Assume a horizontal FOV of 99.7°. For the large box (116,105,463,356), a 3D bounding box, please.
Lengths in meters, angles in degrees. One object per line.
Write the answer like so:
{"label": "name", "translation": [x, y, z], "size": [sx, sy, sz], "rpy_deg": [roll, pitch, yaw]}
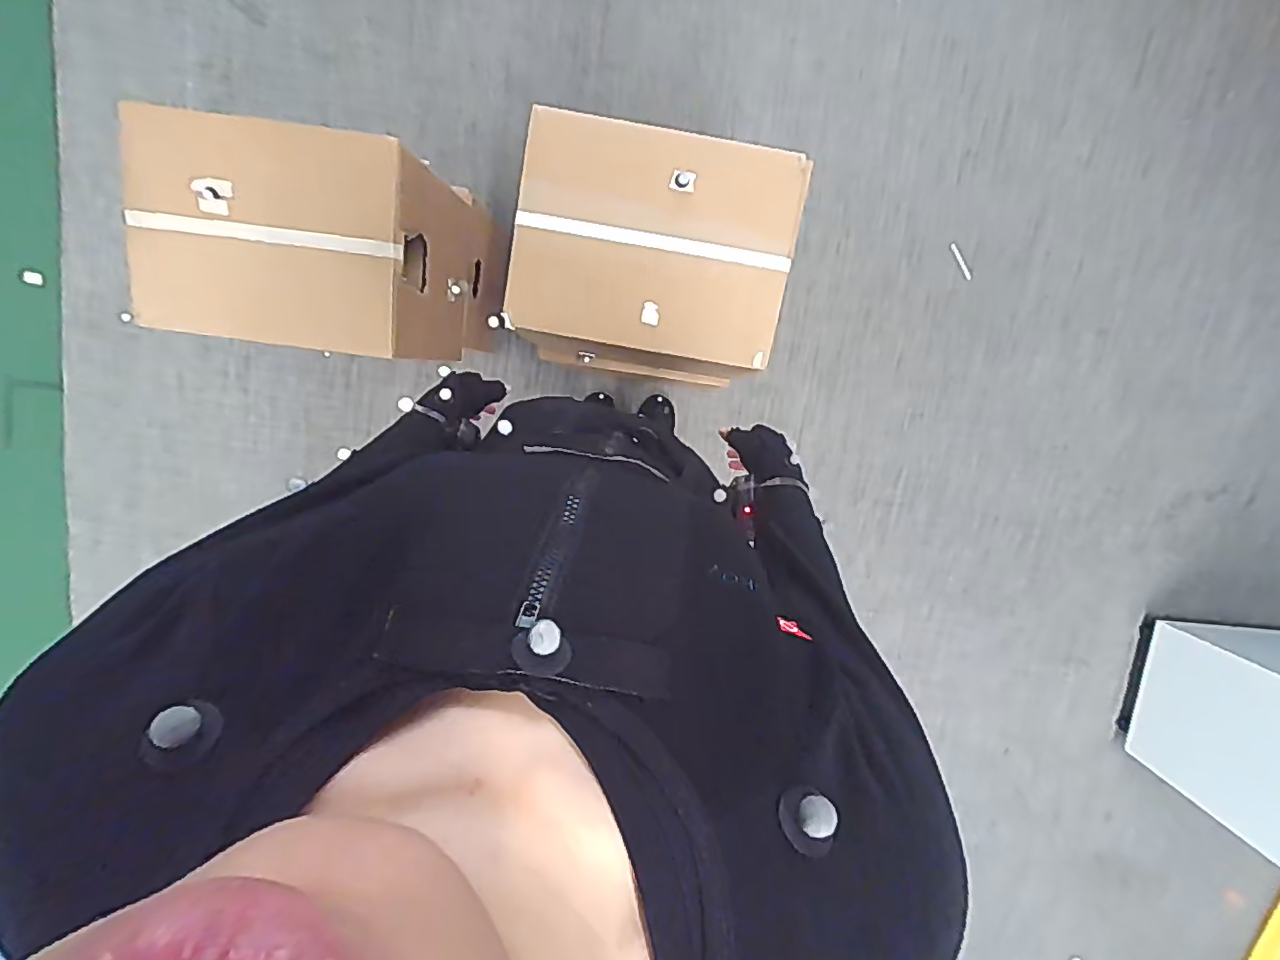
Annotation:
{"label": "large box", "translation": [-0.557, -0.395, 0.941], "size": [0.408, 0.320, 0.320], "rpy_deg": [8, 102, 0]}
